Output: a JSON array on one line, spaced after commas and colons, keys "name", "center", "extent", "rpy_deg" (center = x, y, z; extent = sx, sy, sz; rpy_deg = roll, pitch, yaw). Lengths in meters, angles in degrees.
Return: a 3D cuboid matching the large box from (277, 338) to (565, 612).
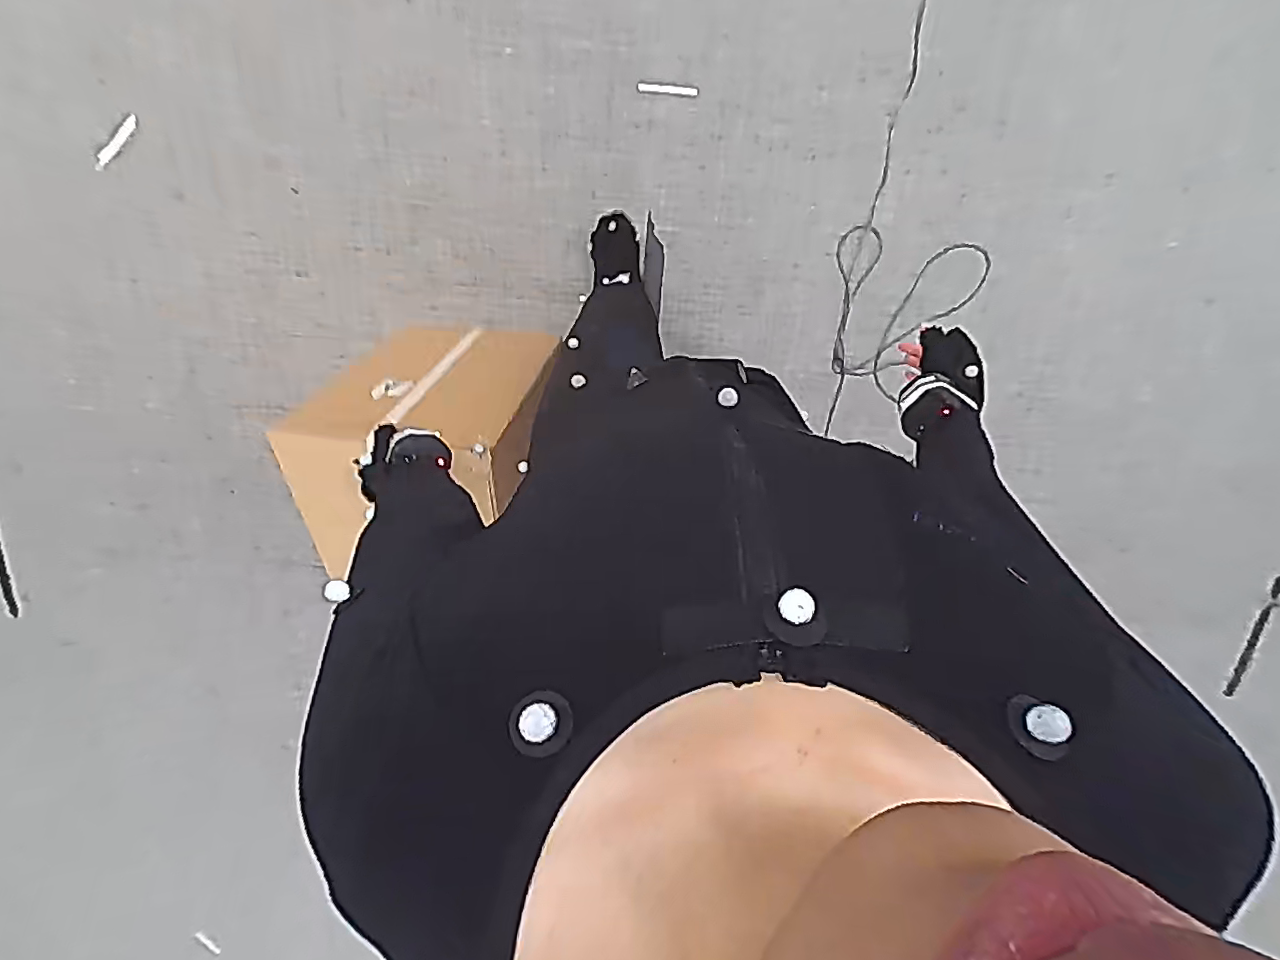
[{"name": "large box", "center": [-0.330, -0.029, 0.970], "extent": [0.320, 0.408, 0.320], "rpy_deg": [4, 125, 6]}]
